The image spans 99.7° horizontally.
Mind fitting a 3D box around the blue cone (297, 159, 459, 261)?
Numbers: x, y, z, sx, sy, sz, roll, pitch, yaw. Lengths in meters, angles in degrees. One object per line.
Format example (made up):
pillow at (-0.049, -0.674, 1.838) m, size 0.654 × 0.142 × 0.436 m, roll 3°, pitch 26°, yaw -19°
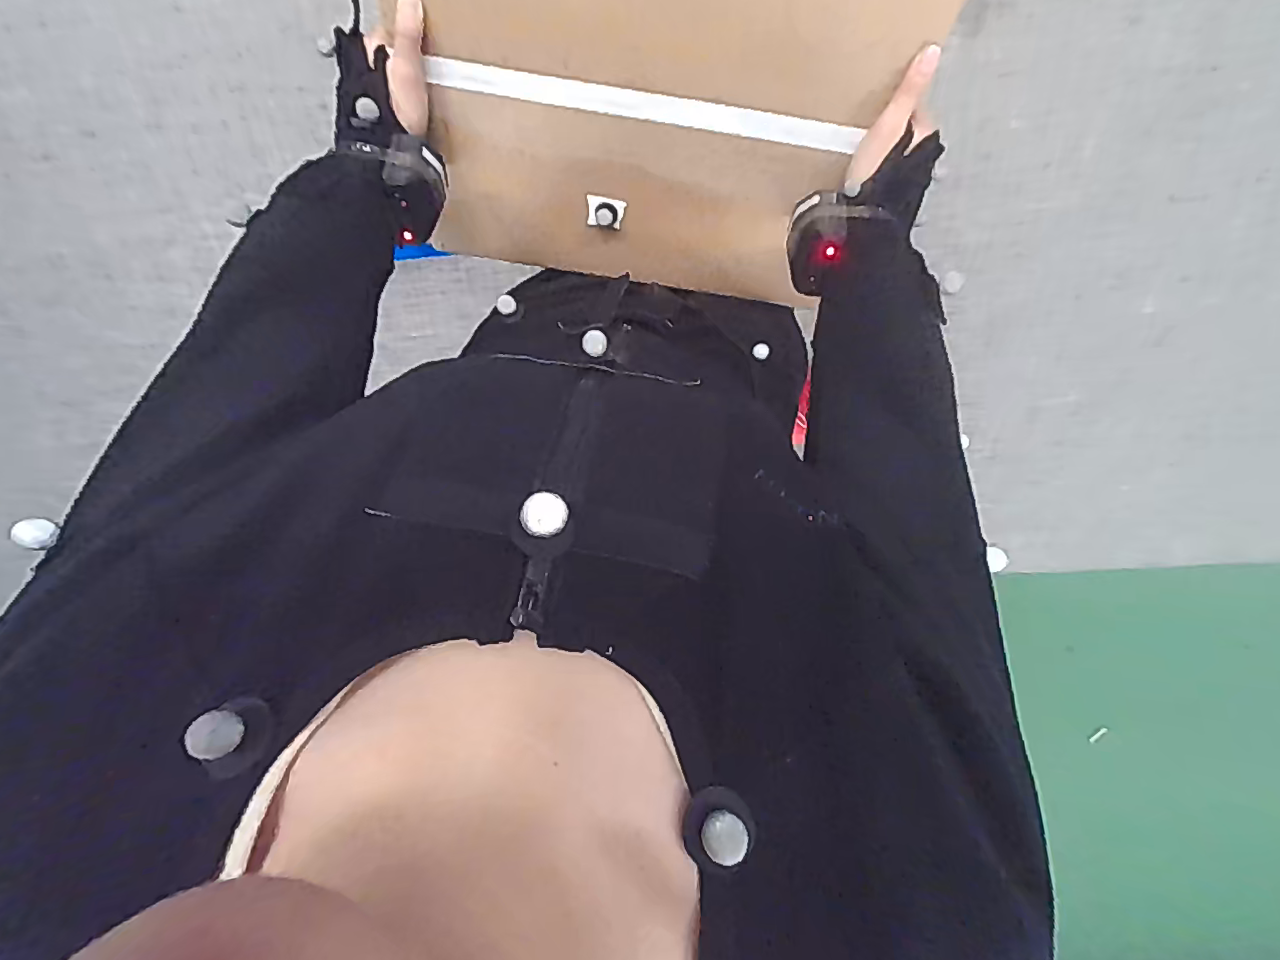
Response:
blue cone at (-0.500, -0.507, 1.013) m, size 0.192 × 0.380 × 0.193 m, roll -2°, pitch 116°, yaw 5°
